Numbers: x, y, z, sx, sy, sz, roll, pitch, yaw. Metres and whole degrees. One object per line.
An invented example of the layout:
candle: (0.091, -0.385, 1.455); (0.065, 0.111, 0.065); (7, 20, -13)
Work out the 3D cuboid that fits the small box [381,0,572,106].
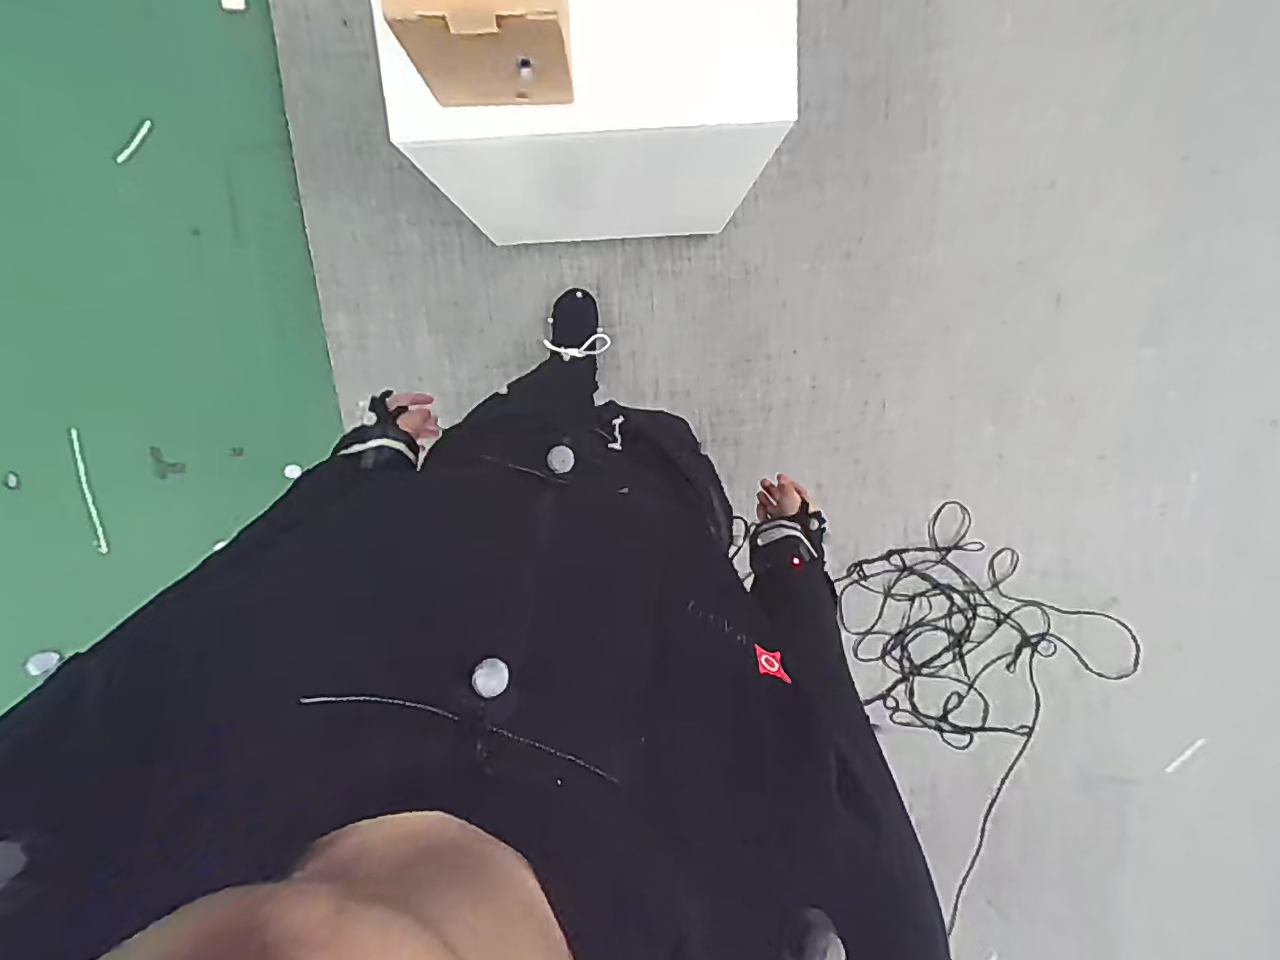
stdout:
small box: (-0.162, -0.523, 0.566); (0.168, 0.176, 0.179); (-3, 99, -3)
